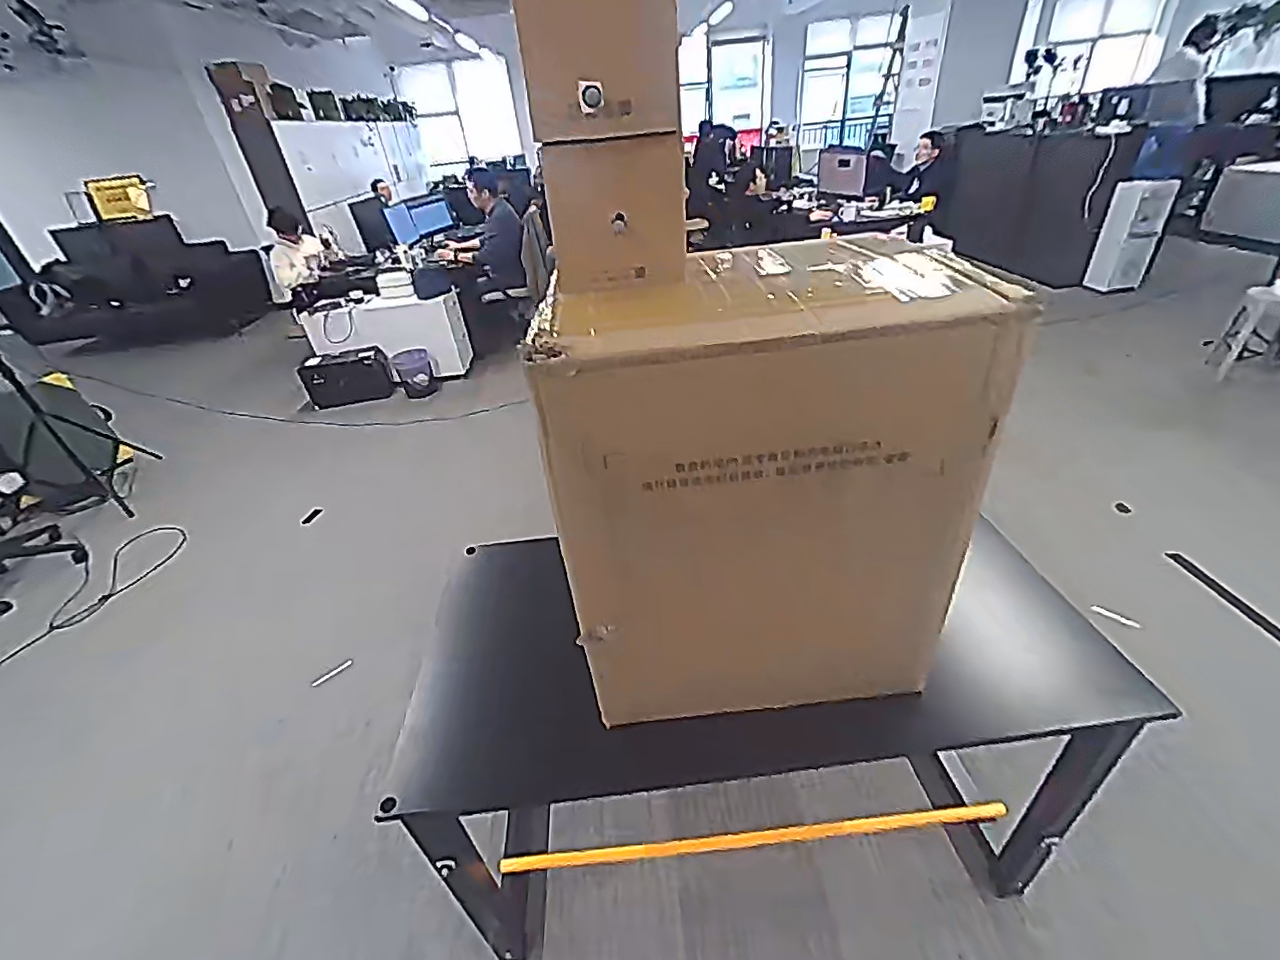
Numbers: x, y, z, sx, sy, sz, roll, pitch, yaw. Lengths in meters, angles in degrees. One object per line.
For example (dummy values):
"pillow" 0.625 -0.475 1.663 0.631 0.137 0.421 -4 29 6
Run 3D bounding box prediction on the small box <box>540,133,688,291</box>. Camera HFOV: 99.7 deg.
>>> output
"small box" -0.029 -0.355 0.717 0.168 0.176 0.179 -6 33 -1

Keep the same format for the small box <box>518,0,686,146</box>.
"small box" -0.039 -0.483 0.614 0.168 0.176 0.179 -6 33 1
